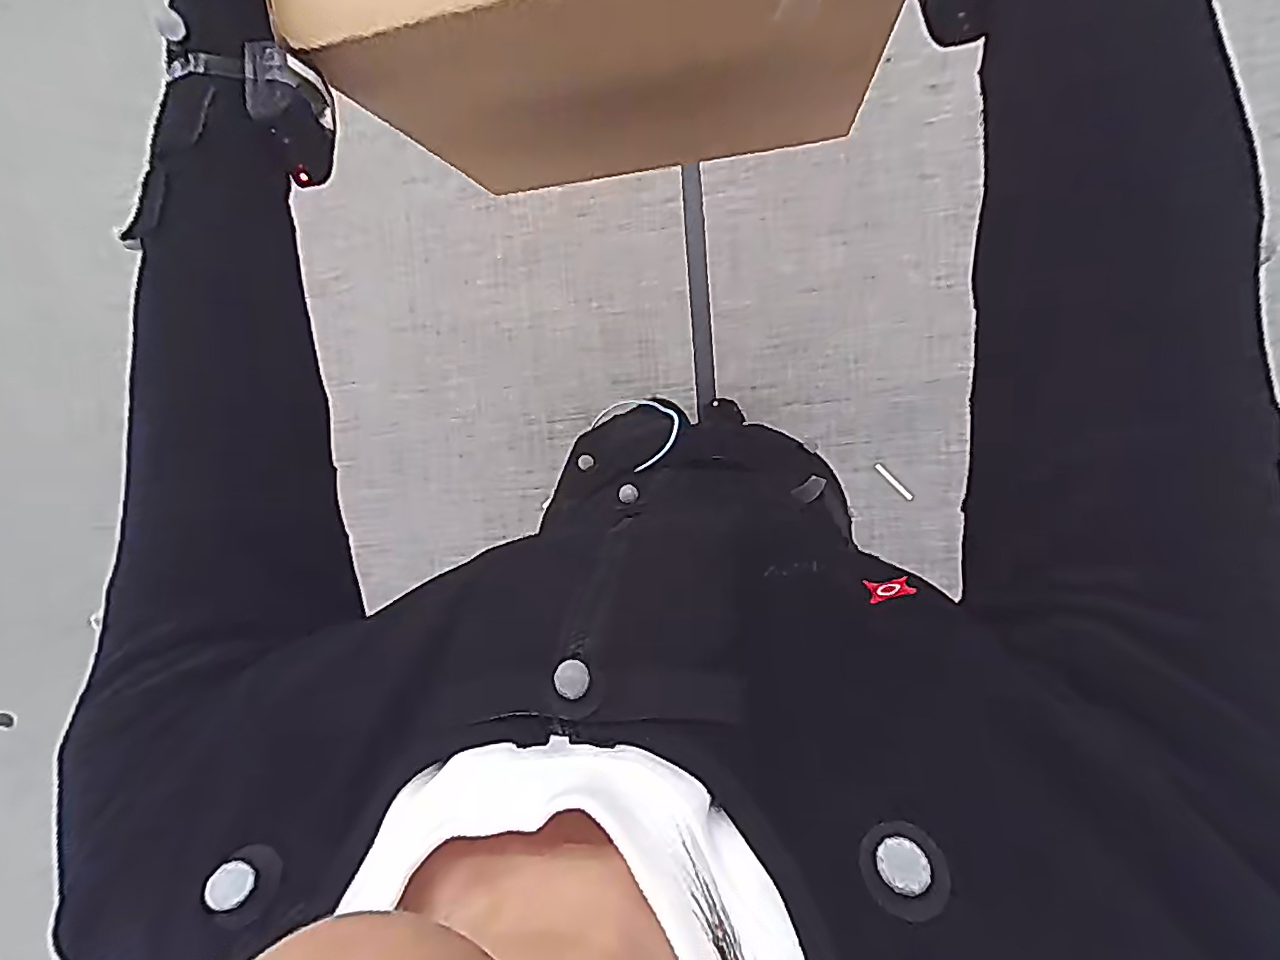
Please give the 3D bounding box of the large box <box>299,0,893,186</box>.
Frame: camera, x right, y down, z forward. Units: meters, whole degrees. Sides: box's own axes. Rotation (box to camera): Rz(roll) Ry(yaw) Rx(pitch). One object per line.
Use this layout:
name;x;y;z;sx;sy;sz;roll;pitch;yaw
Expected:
large box;-0.019;-0.481;0.438;0.408;0.320;0.320;-4;102;11
